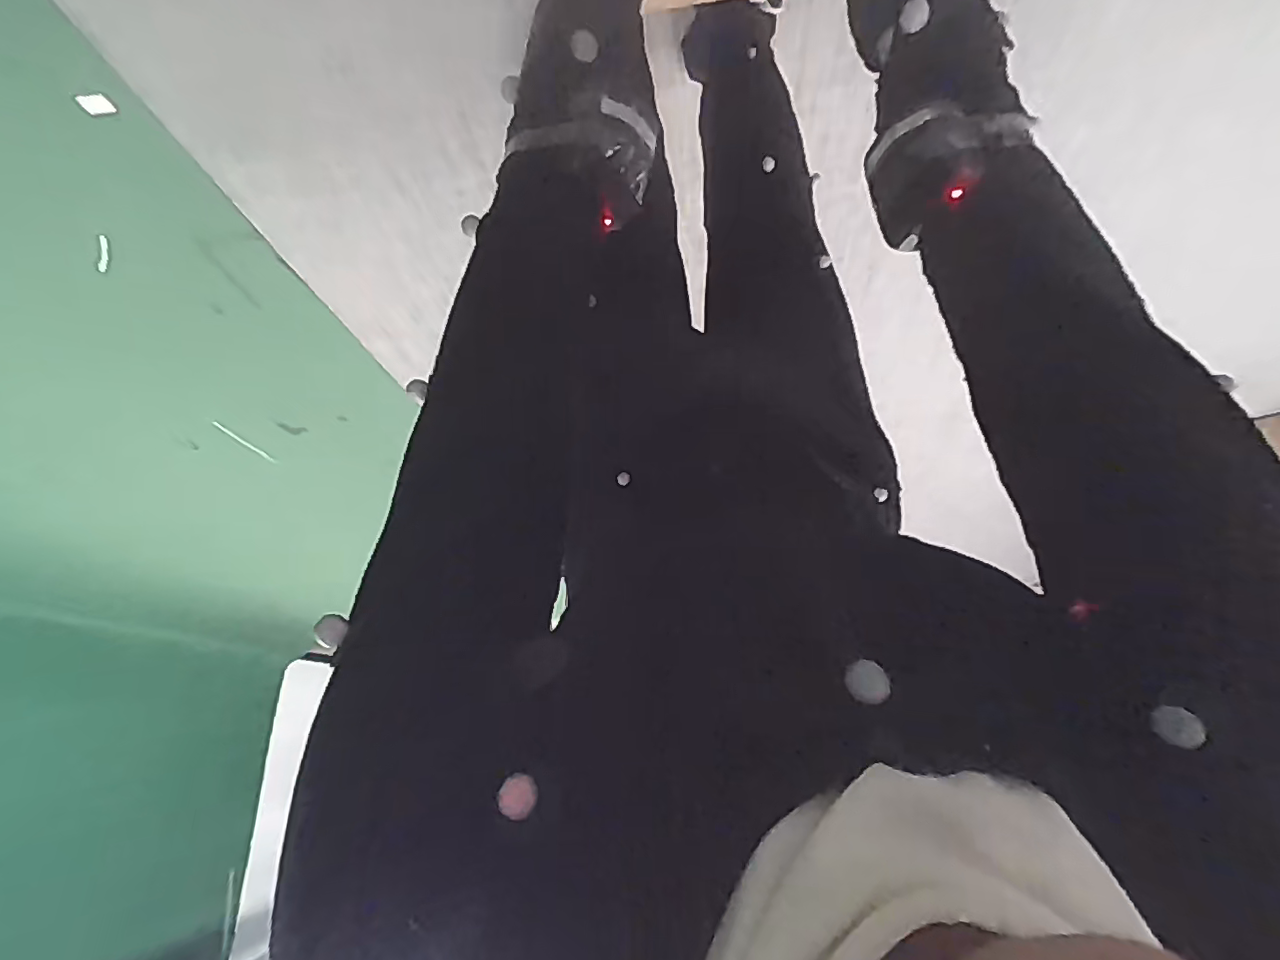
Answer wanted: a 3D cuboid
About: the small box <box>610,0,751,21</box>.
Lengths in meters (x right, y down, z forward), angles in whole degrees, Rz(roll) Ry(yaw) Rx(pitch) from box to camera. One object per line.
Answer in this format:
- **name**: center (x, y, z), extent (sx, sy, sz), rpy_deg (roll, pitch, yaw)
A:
- **small box**: center (0.049, -0.466, 0.368), extent (0.179, 0.176, 0.168), rpy_deg (-8, 156, 1)
